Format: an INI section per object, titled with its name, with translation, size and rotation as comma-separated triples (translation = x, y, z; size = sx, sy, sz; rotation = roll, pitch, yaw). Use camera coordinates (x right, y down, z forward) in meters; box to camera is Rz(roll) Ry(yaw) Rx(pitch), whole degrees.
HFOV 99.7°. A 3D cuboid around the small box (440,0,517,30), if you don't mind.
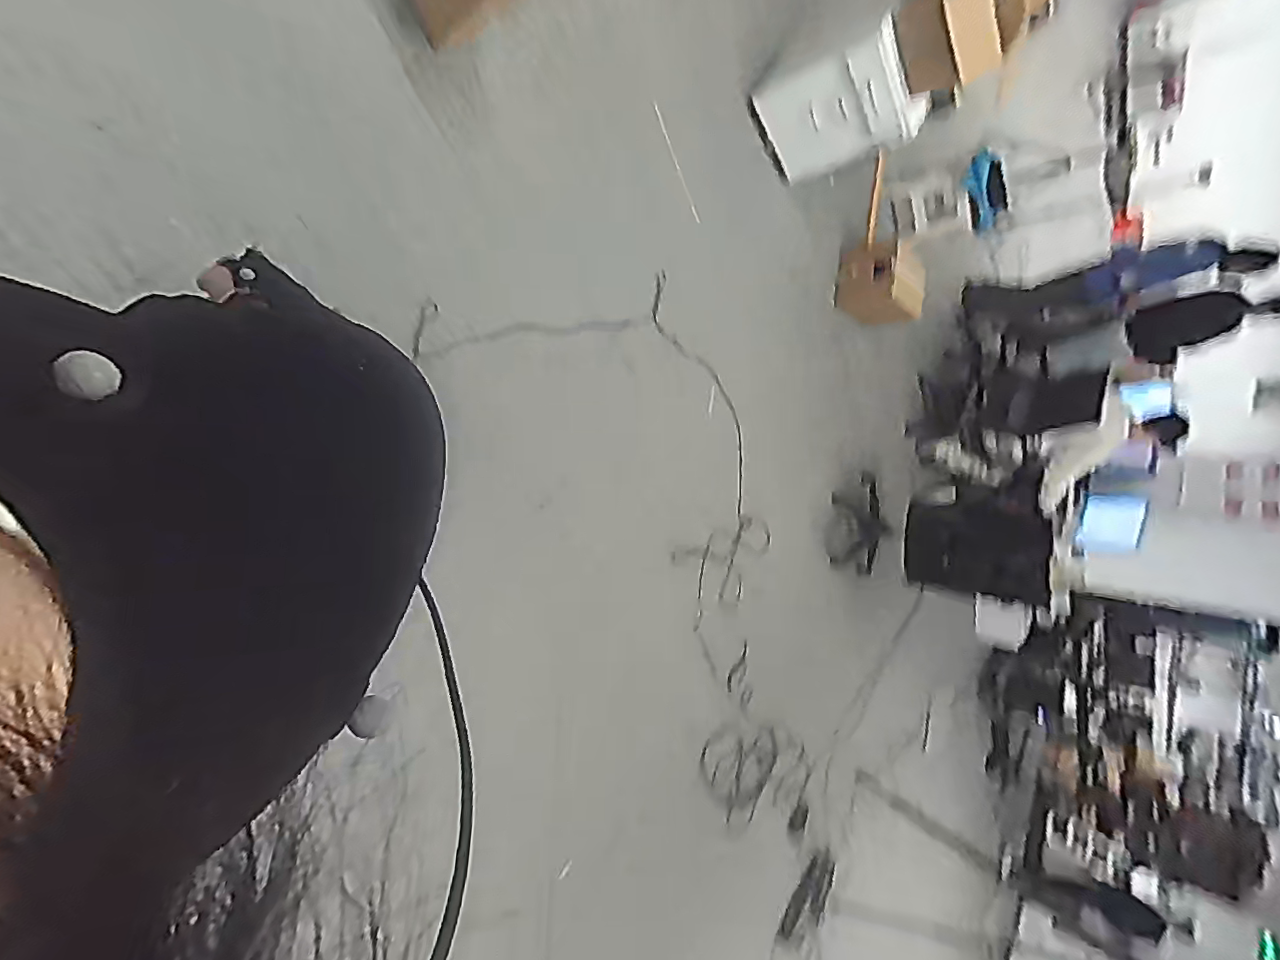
[small box]
translation = -0.395, -1.230, 1.287
size = 0.168, 0.176, 0.179
rotation = -47, 124, -30
